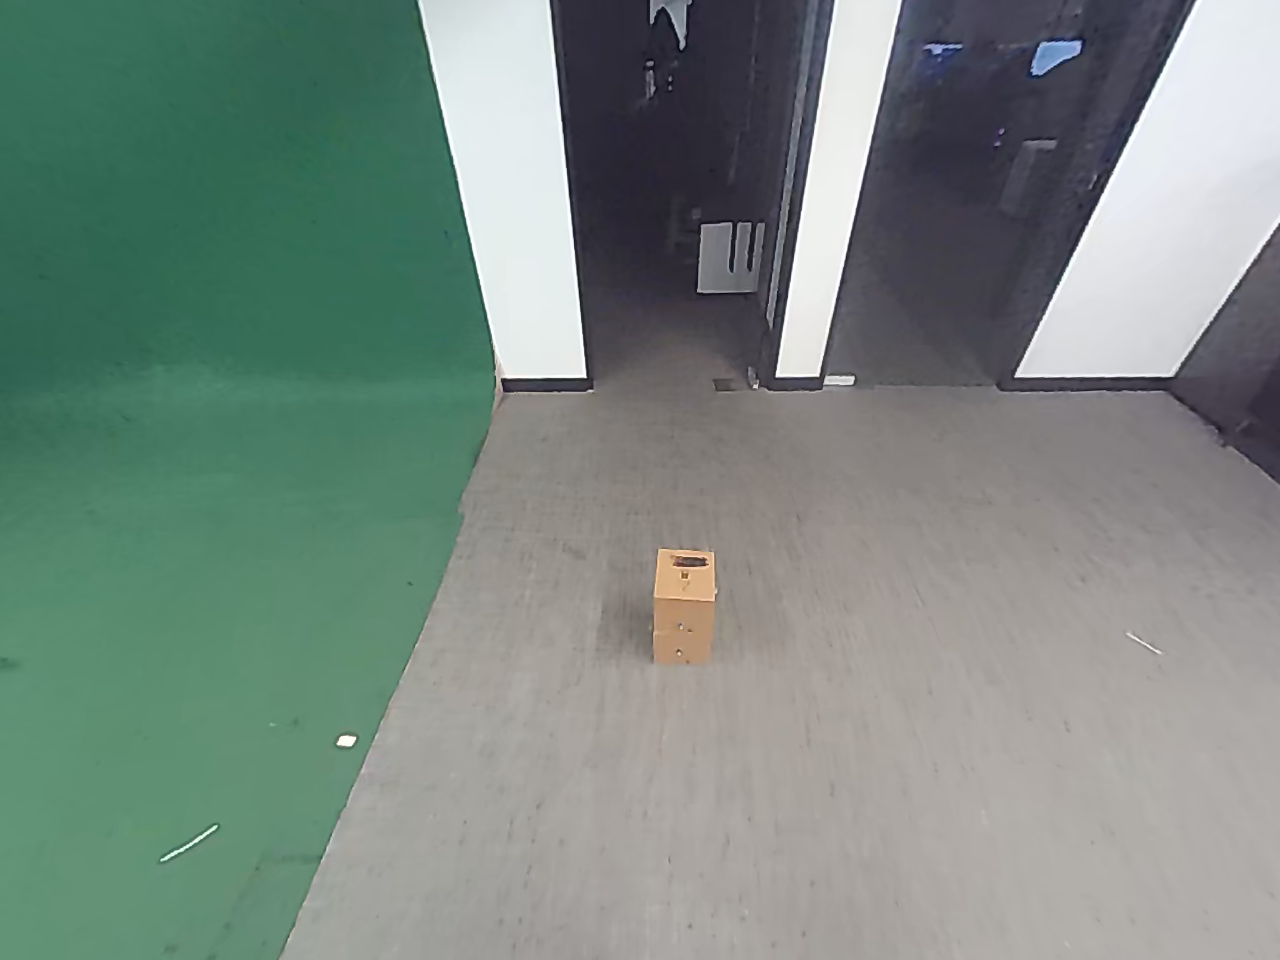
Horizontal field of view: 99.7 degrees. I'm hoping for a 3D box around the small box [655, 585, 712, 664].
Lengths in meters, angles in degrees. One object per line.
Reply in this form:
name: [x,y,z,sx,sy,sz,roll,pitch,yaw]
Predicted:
small box: [0.134,0.446,1.662,0.168,0.176,0.179,1,42,4]
